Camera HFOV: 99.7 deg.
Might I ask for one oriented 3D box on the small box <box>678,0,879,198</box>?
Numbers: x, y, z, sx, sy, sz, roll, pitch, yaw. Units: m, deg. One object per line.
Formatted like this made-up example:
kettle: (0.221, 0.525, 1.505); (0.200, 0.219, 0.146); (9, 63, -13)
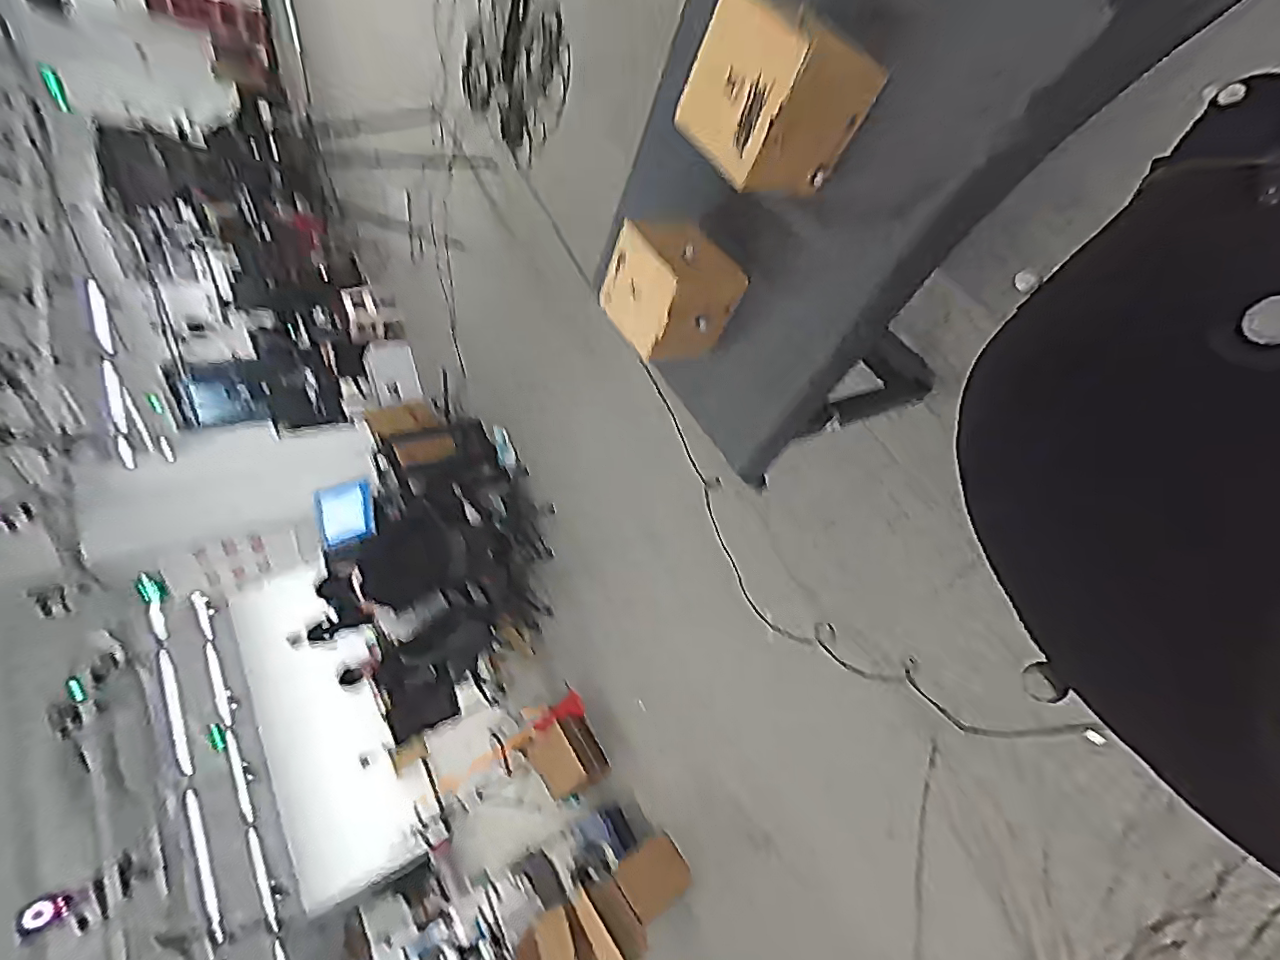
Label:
small box: (0.191, -0.519, 0.756); (0.179, 0.176, 0.168); (59, 143, 23)

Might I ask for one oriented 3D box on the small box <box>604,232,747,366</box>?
small box: (0.065, -0.339, 1.004); (0.179, 0.176, 0.168); (55, 141, 24)
